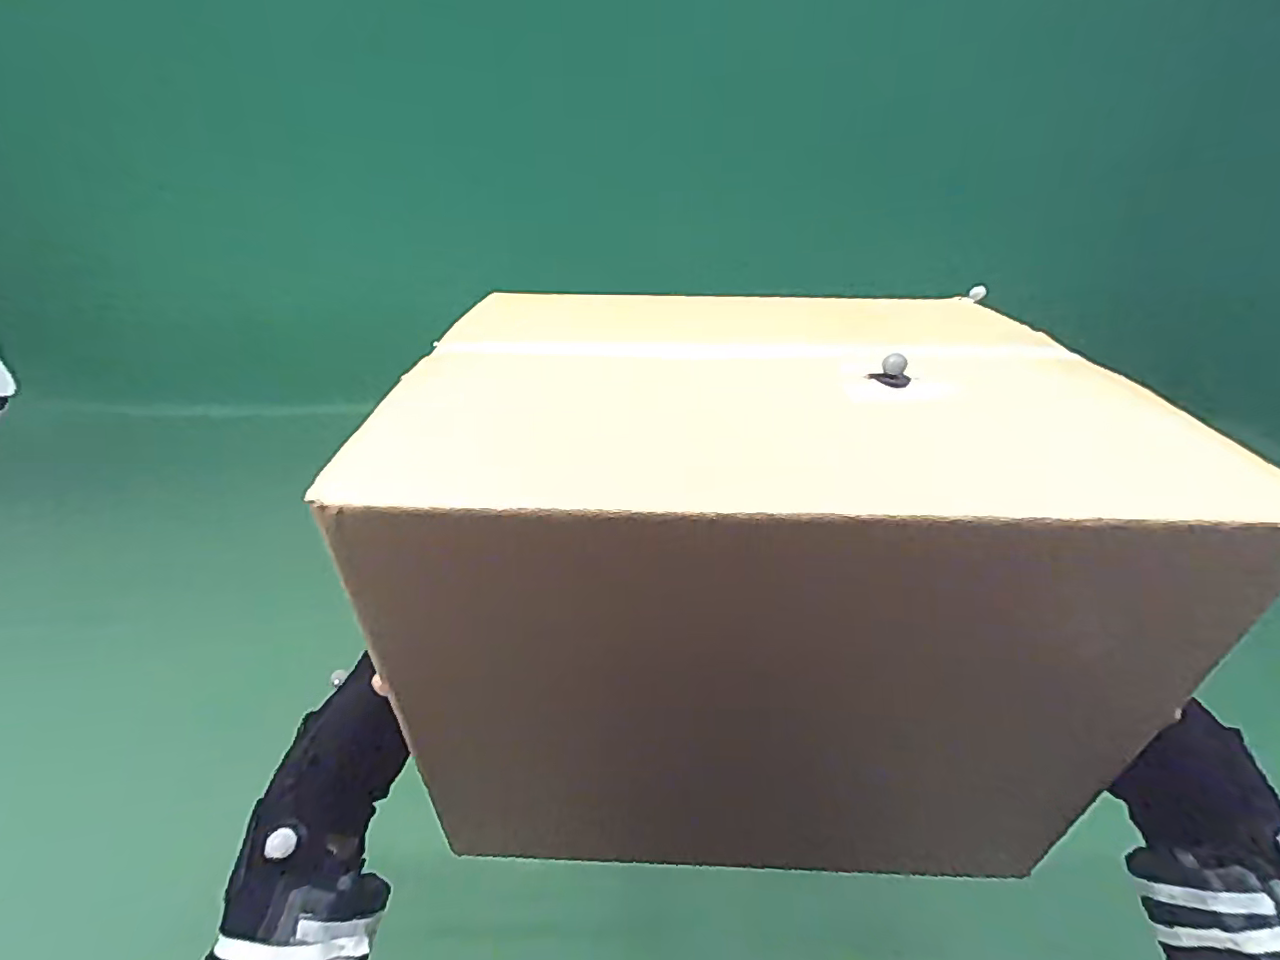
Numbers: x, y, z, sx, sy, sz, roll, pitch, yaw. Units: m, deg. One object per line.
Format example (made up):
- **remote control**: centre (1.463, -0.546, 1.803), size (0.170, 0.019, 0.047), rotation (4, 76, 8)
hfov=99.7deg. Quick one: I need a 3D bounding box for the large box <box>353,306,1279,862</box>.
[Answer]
- **large box**: centre (0.074, 0.059, 0.428), size (0.408, 0.320, 0.320), rotation (2, 33, 1)
